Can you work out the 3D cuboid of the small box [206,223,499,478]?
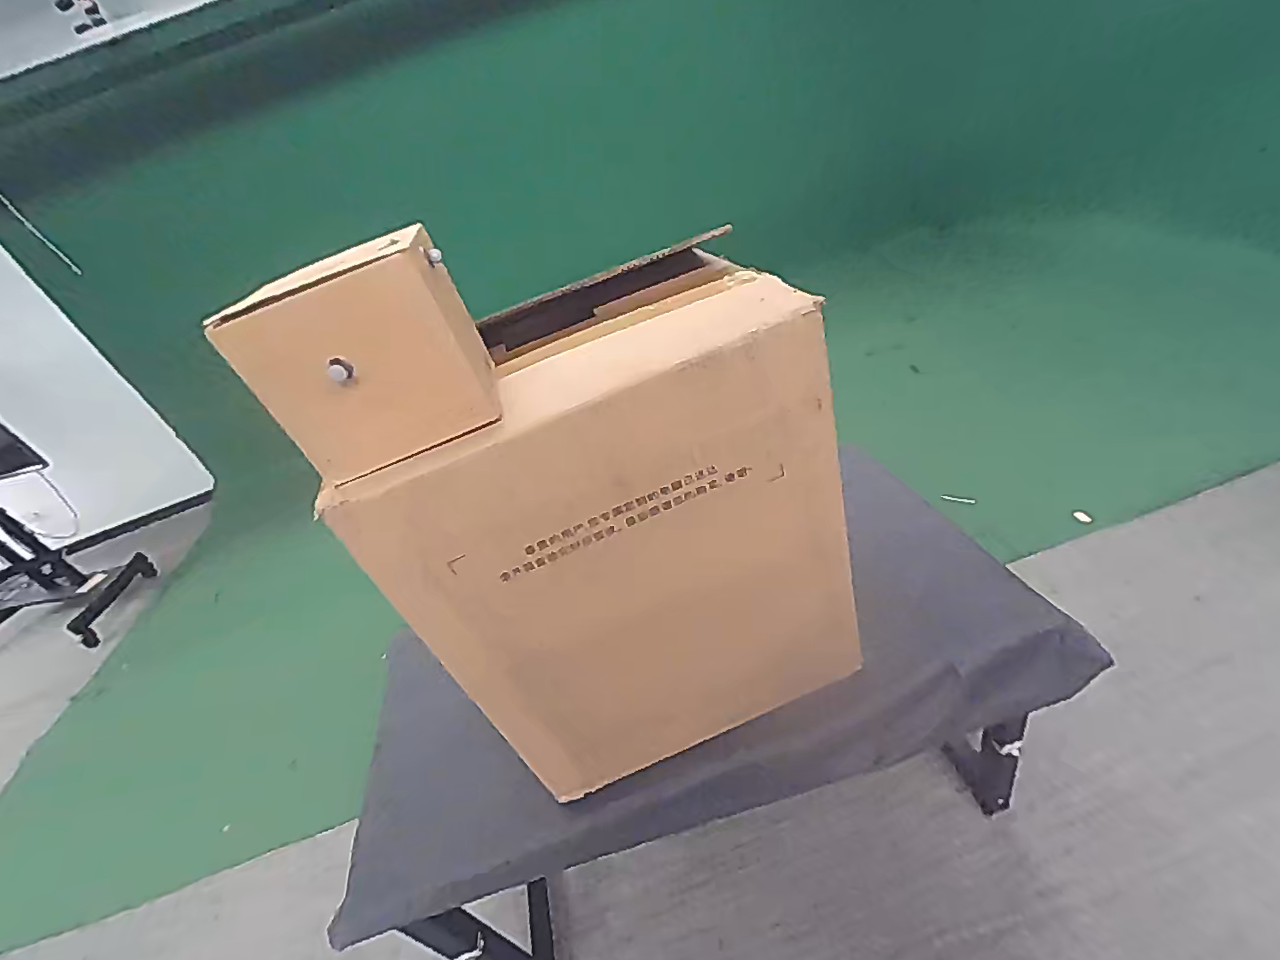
[{"bbox_3d":[-0.261,-0.129,0.541,0.179,0.176,0.168,-24,36,-2],"label":"small box"}]
